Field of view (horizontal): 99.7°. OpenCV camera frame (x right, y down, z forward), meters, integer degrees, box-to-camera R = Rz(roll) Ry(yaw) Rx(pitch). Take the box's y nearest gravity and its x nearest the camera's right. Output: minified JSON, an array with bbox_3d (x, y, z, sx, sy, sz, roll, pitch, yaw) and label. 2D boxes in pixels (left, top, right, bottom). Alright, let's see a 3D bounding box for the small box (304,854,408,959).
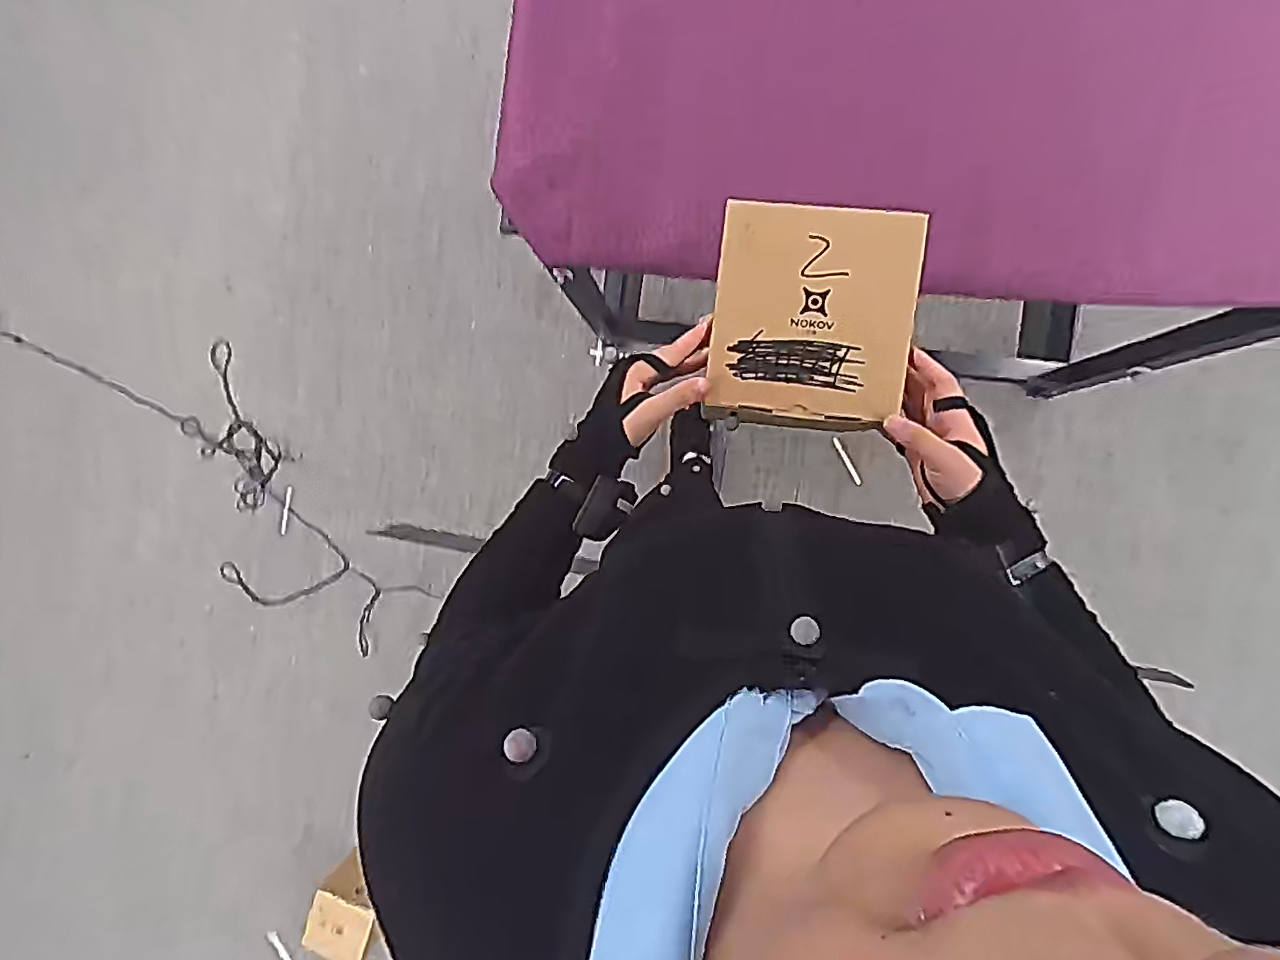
[{"bbox_3d":[-0.781,1.193,1.505,0.179,0.176,0.168,18,91,7],"label":"small box"}]
